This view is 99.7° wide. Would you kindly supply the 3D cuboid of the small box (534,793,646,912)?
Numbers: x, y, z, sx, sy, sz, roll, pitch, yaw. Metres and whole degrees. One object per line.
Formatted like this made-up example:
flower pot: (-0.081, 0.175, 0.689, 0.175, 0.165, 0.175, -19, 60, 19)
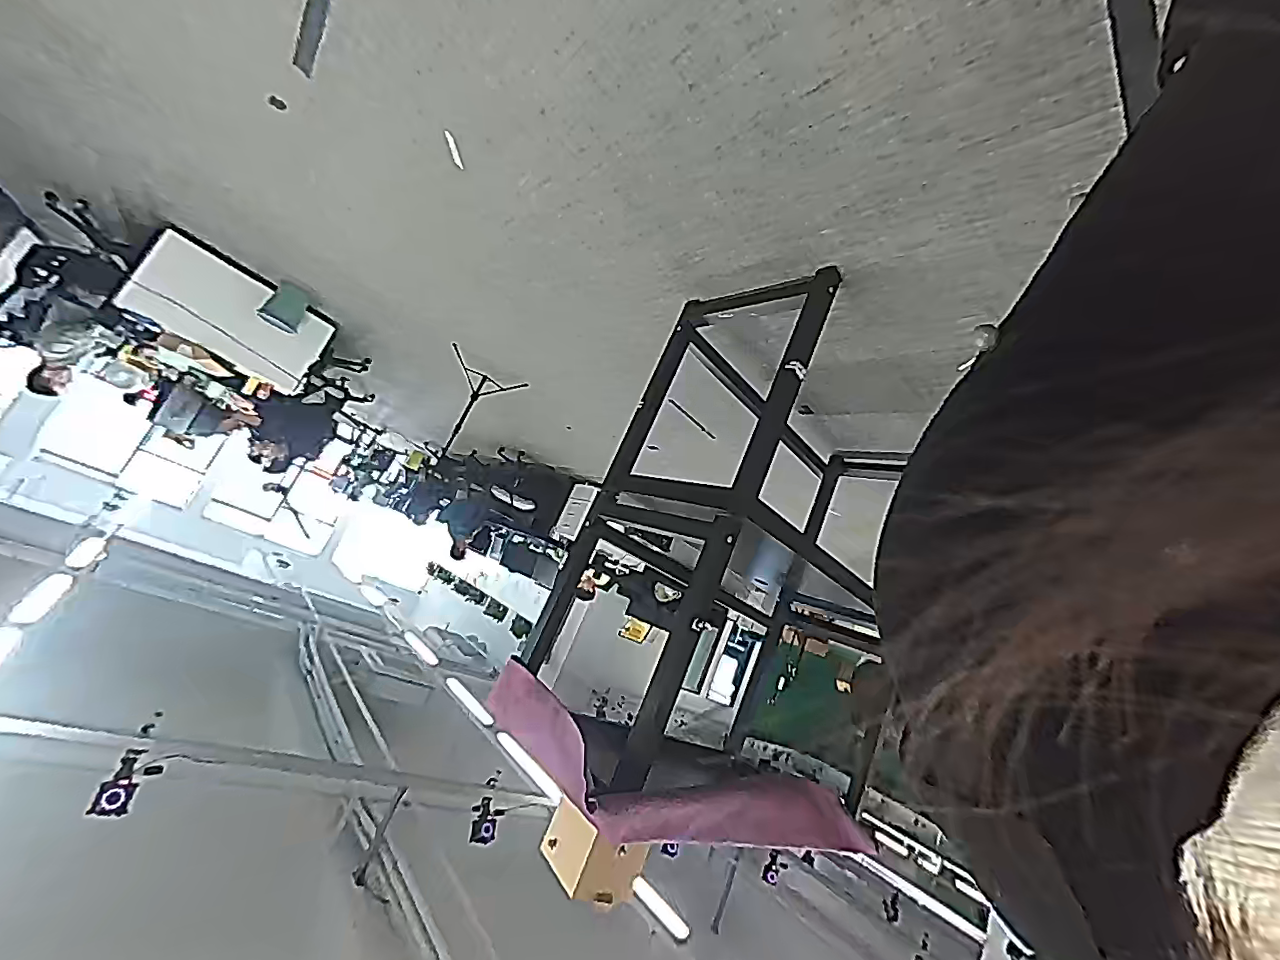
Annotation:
small box: (-0.113, 0.849, 1.251, 0.168, 0.176, 0.179, 30, 166, -30)
